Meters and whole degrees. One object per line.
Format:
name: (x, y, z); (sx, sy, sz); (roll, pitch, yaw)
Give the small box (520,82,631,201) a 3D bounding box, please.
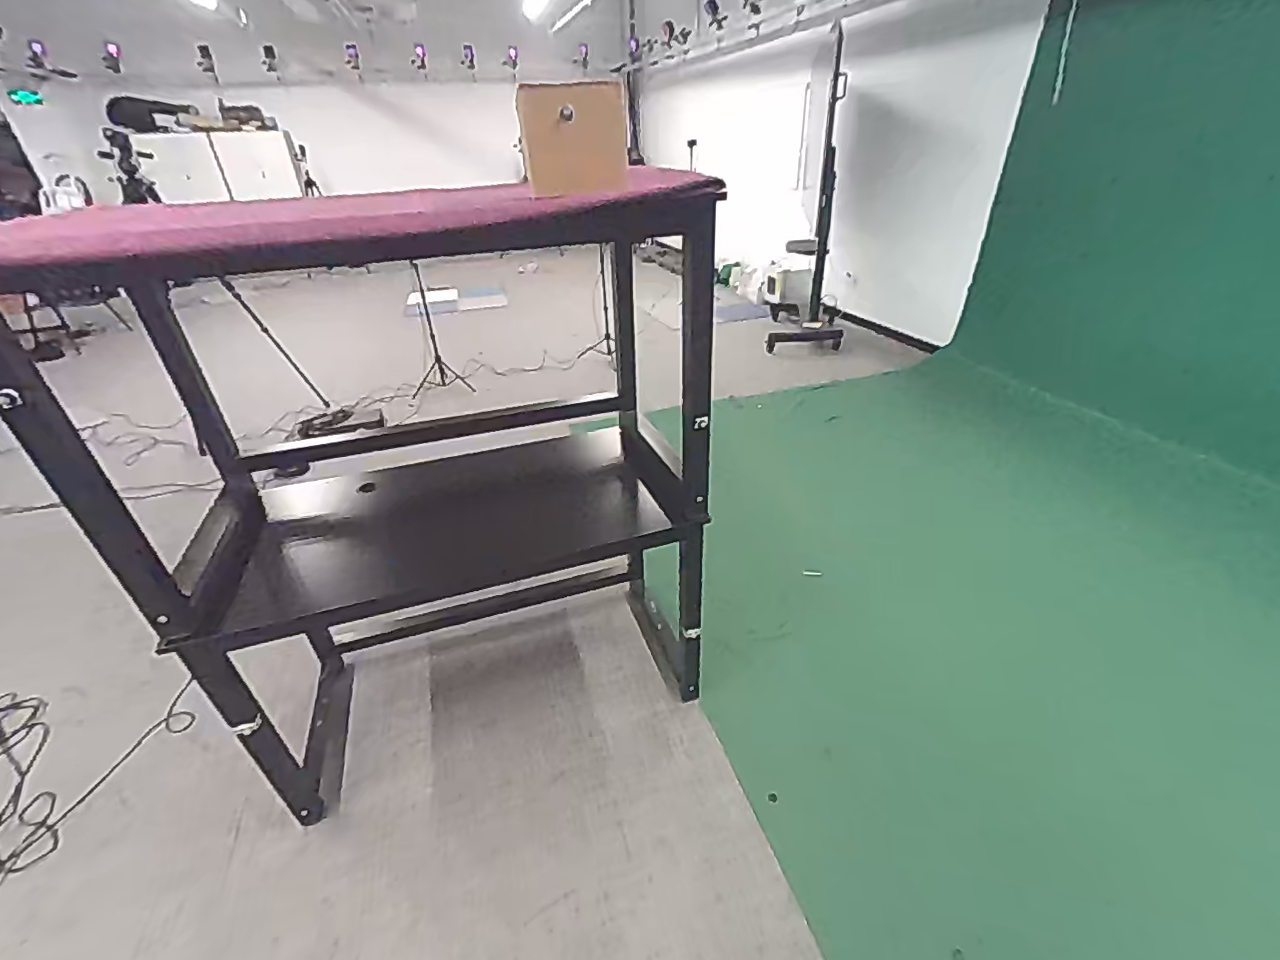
small box: (-0.119, -0.615, 0.998); (0.179, 0.176, 0.168); (-9, 31, -9)
